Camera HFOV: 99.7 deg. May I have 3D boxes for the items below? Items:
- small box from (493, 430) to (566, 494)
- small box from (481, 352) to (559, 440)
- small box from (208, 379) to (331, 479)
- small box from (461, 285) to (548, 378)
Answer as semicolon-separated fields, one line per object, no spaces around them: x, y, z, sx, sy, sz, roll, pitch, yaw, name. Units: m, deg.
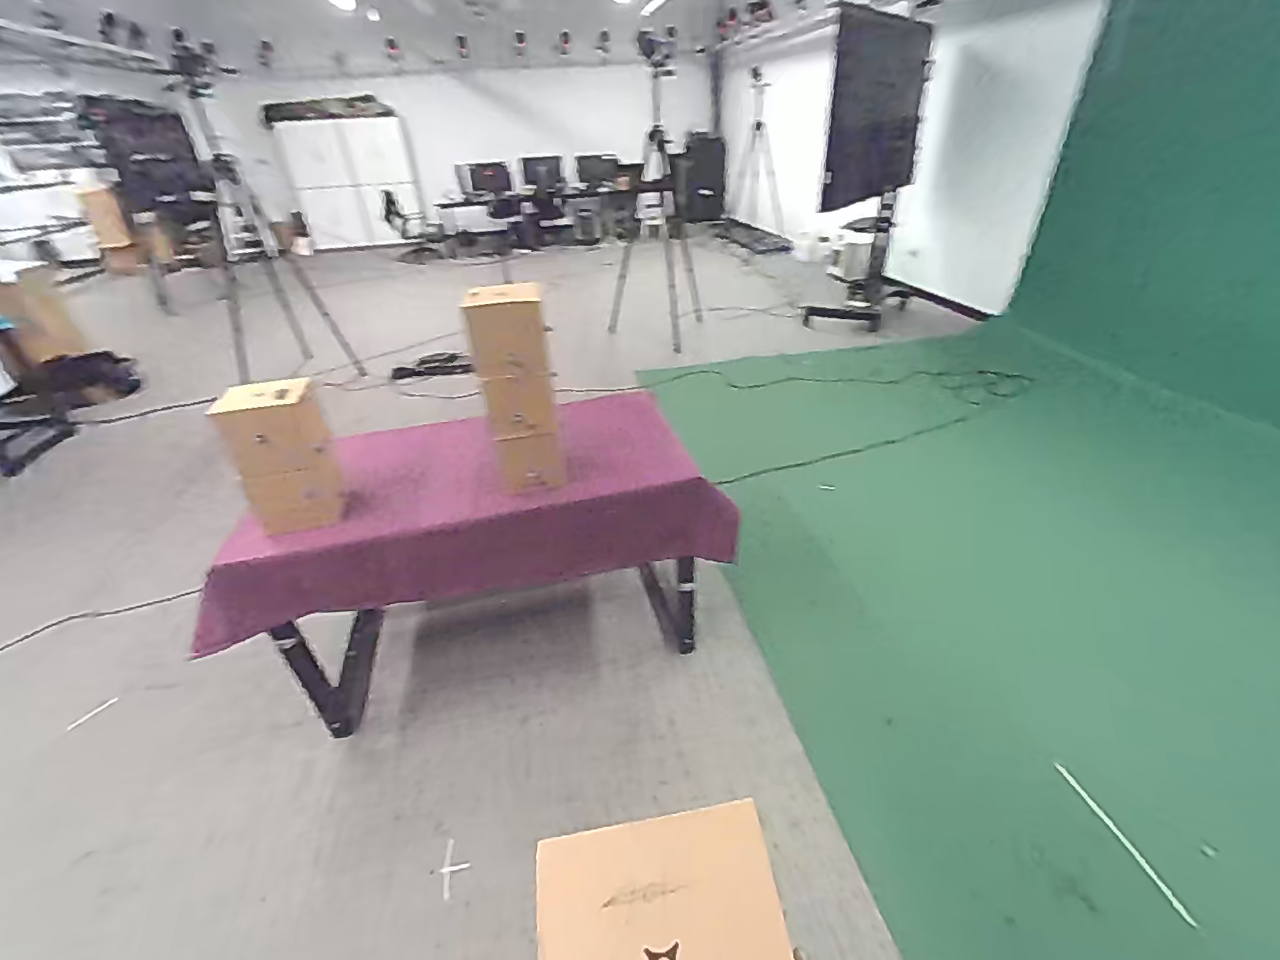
-0.297;-0.082;1.471;0.168;0.176;0.179;-9;34;-7;small box
-0.303;-0.219;1.383;0.168;0.176;0.179;-8;34;-8;small box
-0.863;-0.123;1.284;0.179;0.176;0.168;-11;34;-12;small box
-0.313;-0.356;1.291;0.179;0.176;0.168;-7;33;-7;small box
